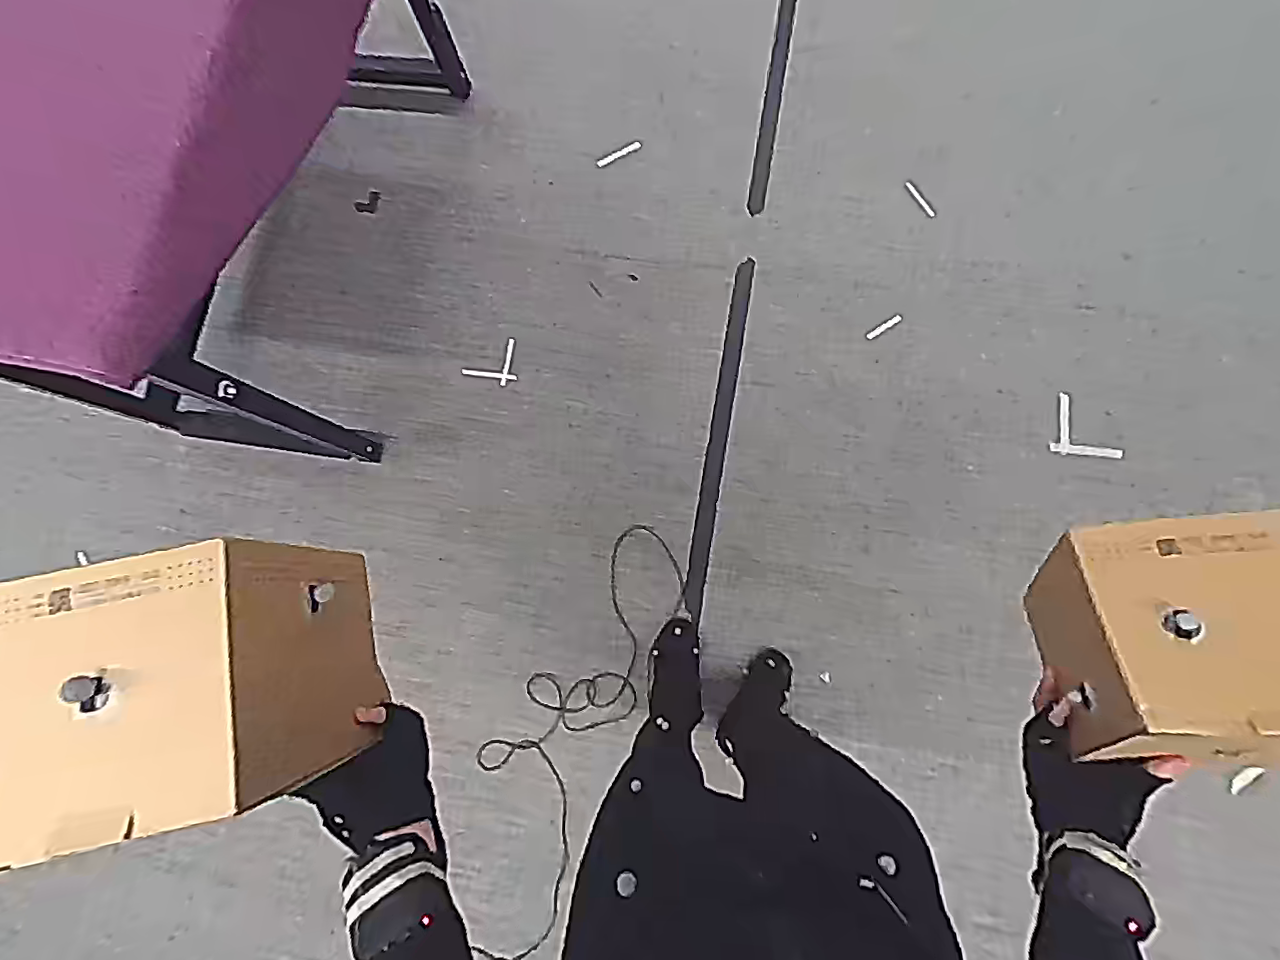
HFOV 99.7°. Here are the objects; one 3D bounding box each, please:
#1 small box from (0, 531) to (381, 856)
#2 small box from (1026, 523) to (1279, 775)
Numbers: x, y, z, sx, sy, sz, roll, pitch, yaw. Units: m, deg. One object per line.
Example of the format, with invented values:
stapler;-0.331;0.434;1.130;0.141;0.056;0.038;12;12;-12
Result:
small box;-0.322;0.137;0.401;0.168;0.179;0.176;-11;79;0
small box;0.461;0.144;0.458;0.168;0.179;0.176;-6;56;17
